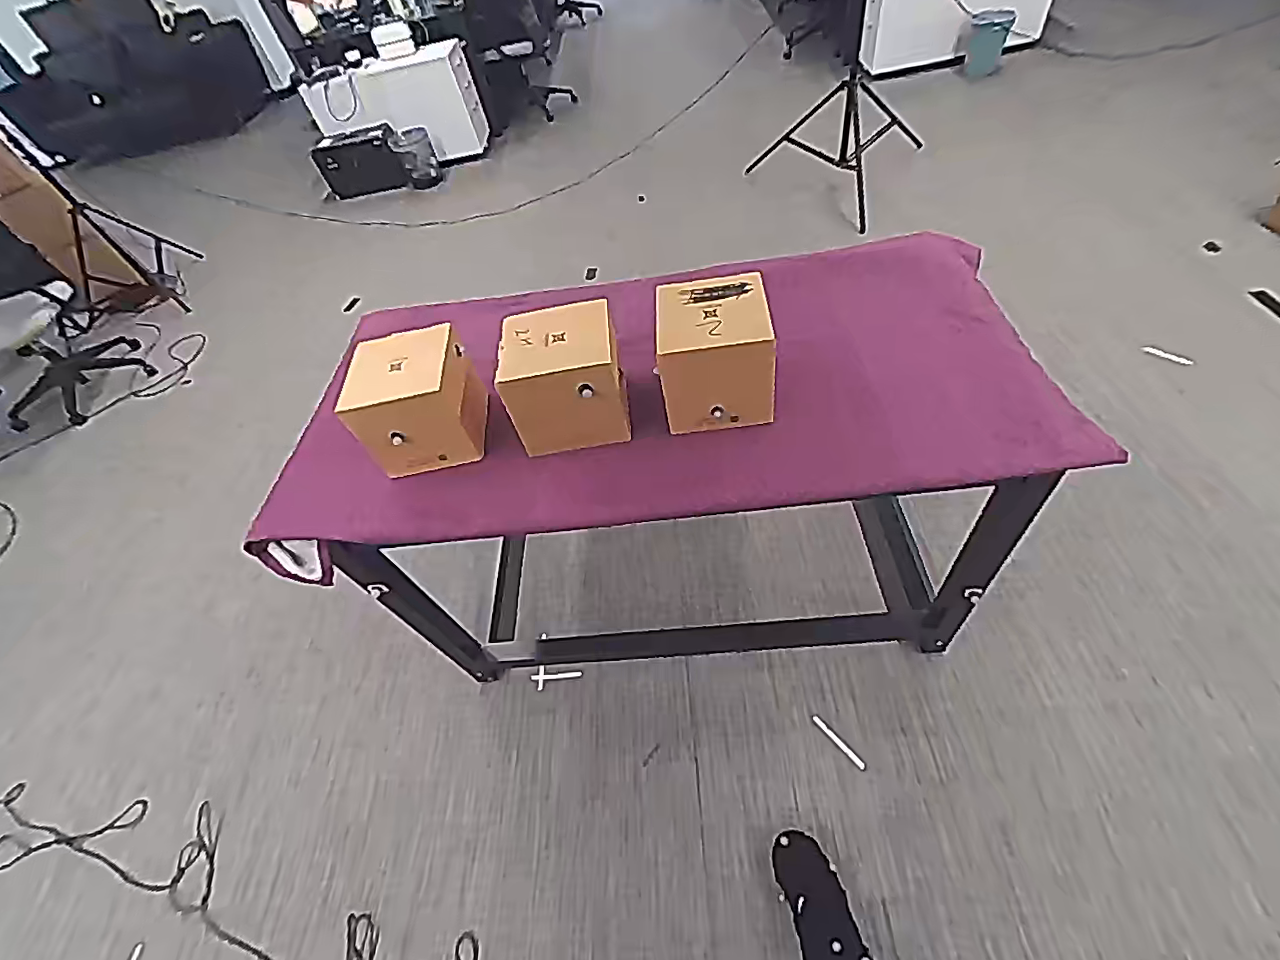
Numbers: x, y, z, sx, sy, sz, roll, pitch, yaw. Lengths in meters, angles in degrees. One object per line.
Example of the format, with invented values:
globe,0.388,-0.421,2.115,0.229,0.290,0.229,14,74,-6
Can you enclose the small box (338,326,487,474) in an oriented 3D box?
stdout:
small box,-0.371,-0.128,0.920,0.168,0.176,0.179,-12,50,3

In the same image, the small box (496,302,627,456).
small box,-0.119,-0.162,0.889,0.179,0.176,0.168,-10,49,4
